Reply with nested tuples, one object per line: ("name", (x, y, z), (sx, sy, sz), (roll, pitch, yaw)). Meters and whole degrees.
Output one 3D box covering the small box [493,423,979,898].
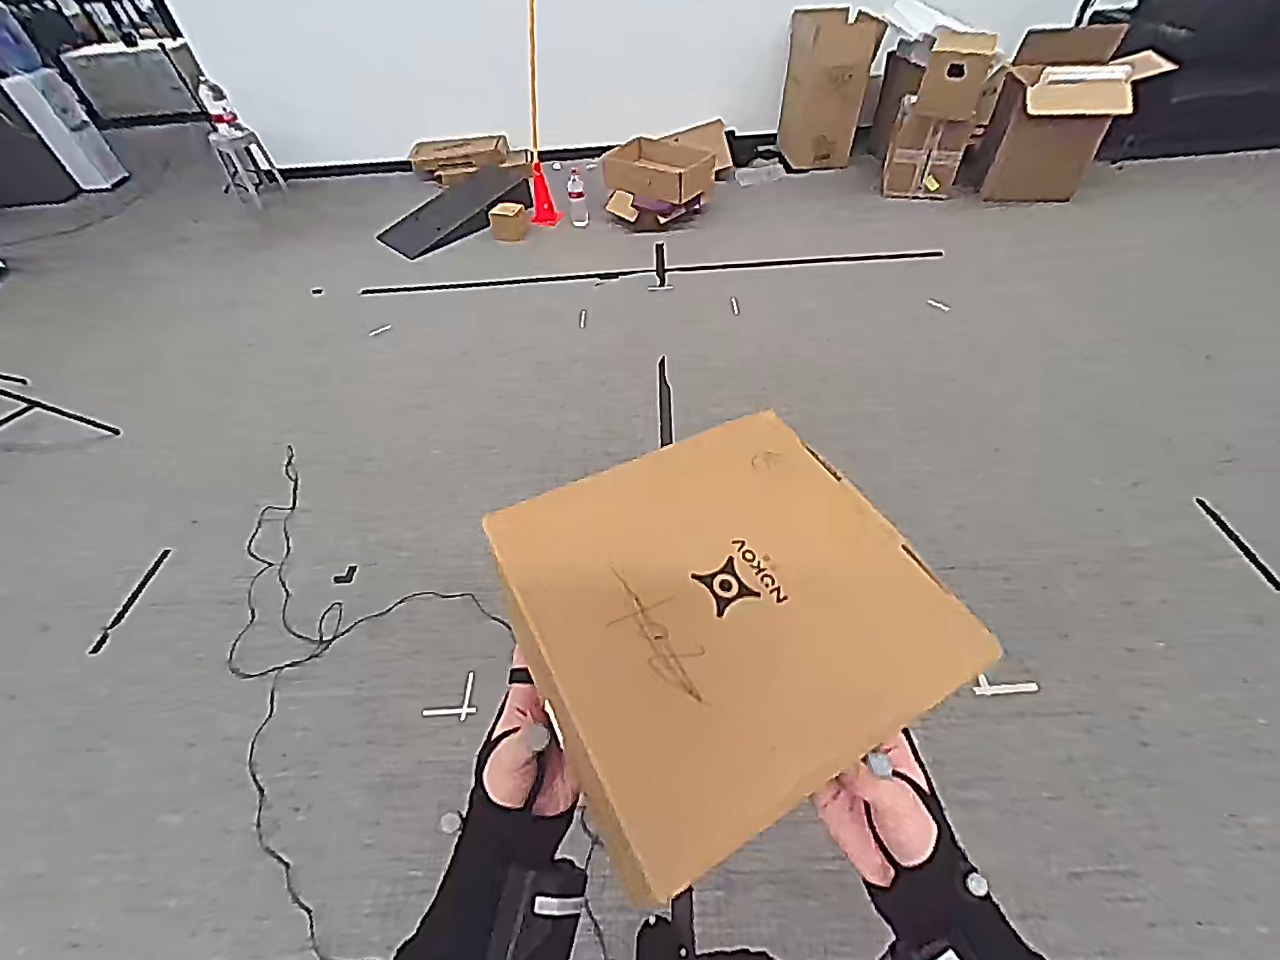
("small box", (0.035, 0.102, 0.315), (0.179, 0.176, 0.168), (-23, 56, -21))
